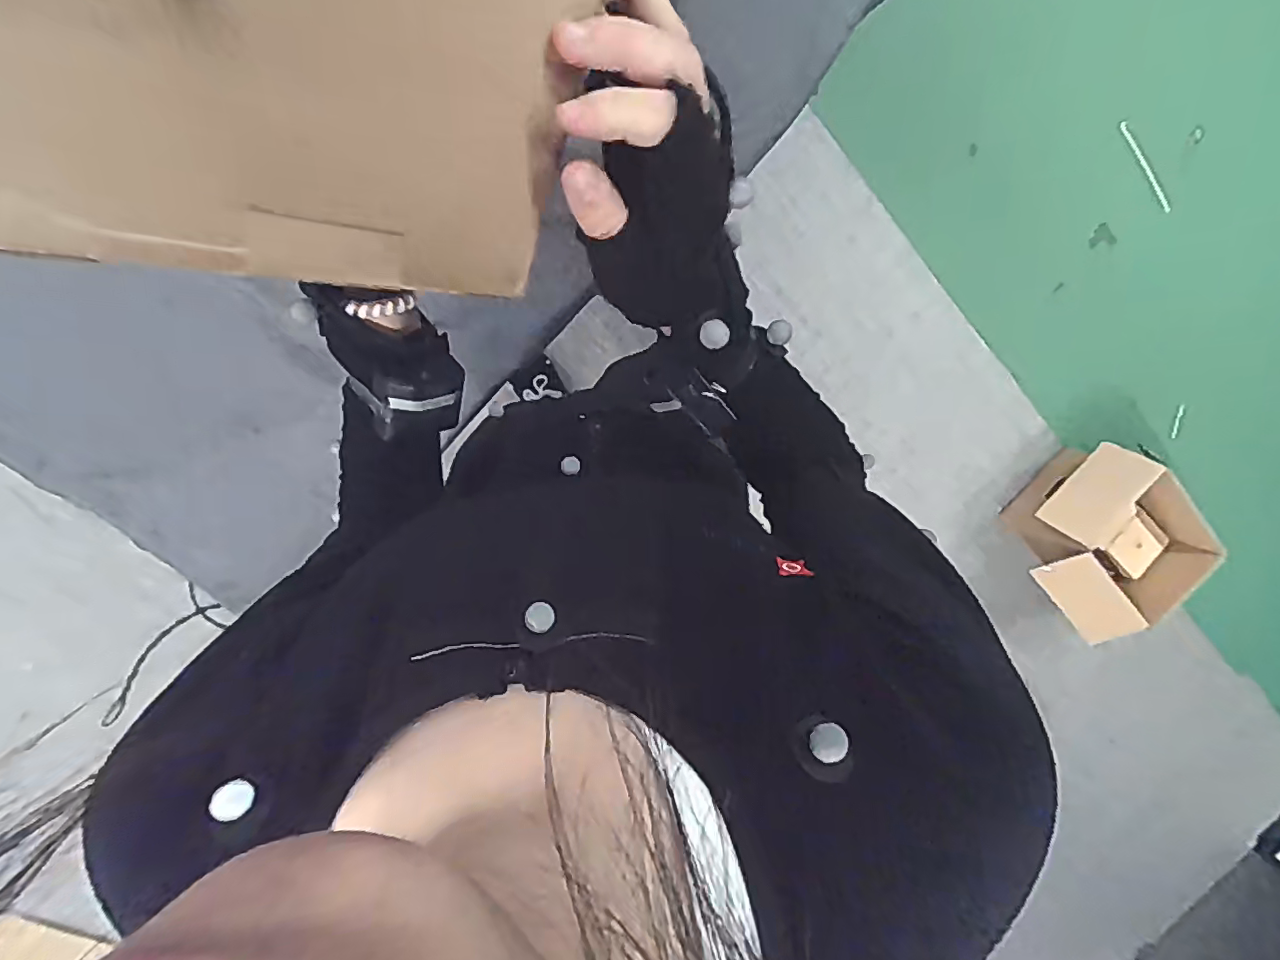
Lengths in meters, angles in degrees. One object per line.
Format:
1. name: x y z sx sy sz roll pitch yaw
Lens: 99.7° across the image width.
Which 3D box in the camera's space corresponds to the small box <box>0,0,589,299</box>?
1. small box: -0.129 -0.173 0.170 0.179 0.168 0.176 34 119 22
